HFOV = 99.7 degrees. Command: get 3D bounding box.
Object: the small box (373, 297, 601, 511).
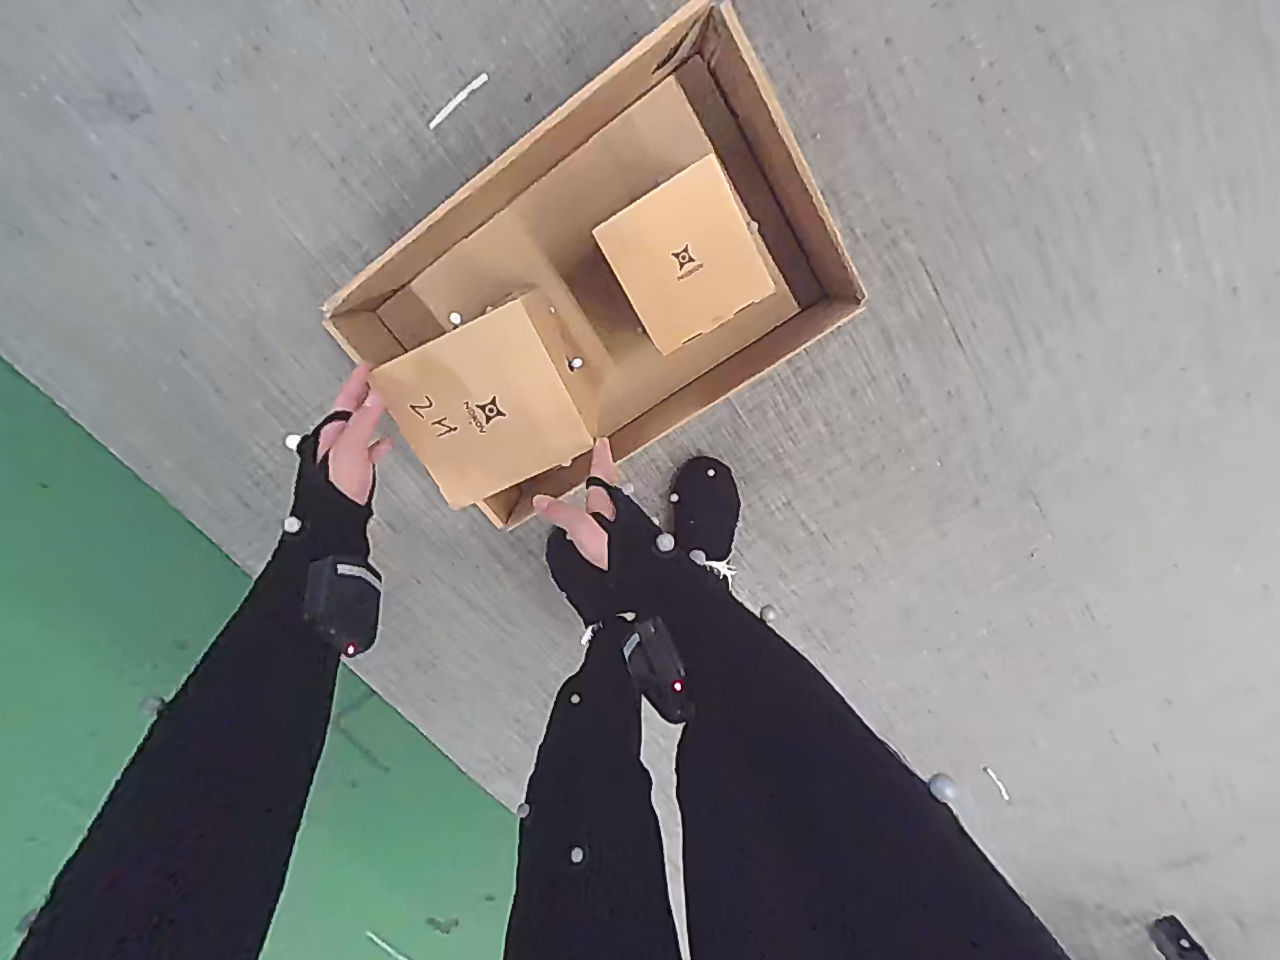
[{"bbox_3d":[-0.157,-0.097,0.621,0.179,0.176,0.168,-24,111,7],"label":"small box"}]
